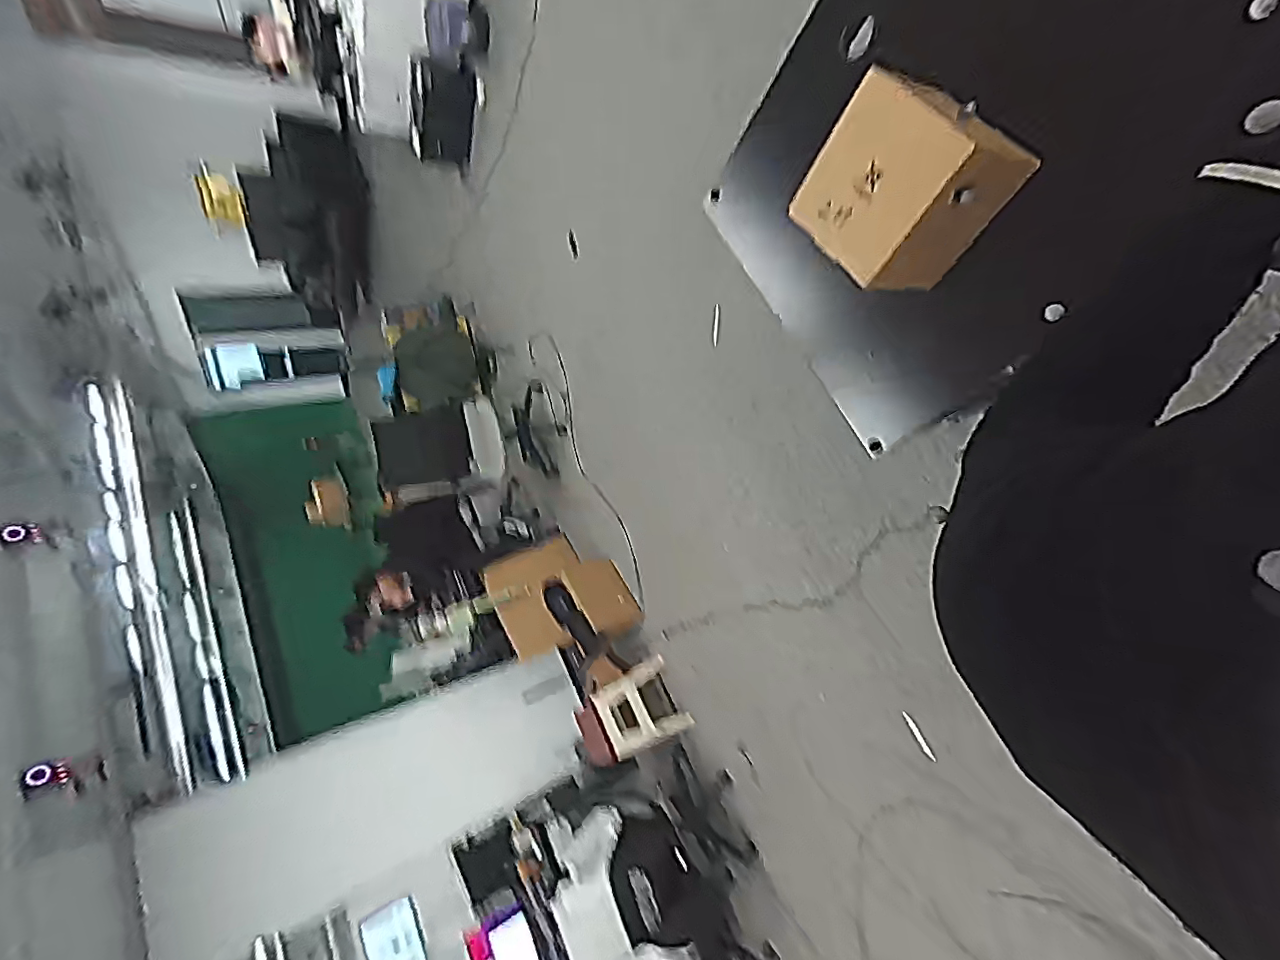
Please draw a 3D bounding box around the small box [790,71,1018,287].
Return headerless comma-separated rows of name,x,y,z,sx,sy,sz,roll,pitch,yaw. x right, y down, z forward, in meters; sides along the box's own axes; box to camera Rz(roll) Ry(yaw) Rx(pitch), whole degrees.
small box,0.336,-0.370,0.688,0.168,0.176,0.179,58,143,24
